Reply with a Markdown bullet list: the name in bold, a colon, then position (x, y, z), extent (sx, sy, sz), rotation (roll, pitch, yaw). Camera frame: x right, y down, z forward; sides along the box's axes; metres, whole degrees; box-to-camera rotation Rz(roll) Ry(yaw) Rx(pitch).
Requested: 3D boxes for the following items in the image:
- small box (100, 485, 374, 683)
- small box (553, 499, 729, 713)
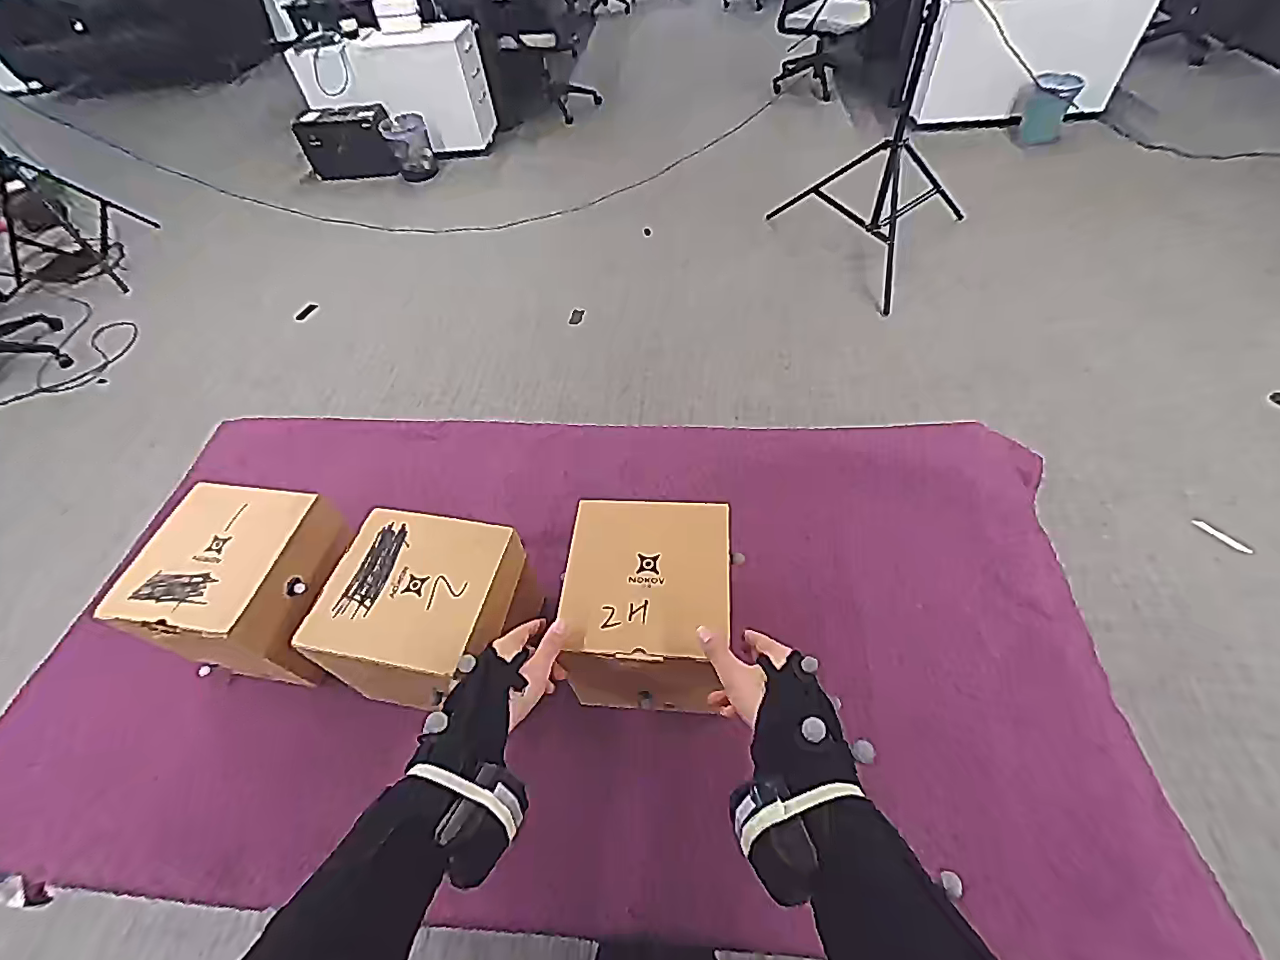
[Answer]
- **small box**: position (-0.463, 0.130, 0.660), extent (0.168, 0.176, 0.179), rotation (5, 53, 9)
- **small box**: position (0.012, 0.142, 0.607), extent (0.168, 0.176, 0.179), rotation (1, 52, 7)
